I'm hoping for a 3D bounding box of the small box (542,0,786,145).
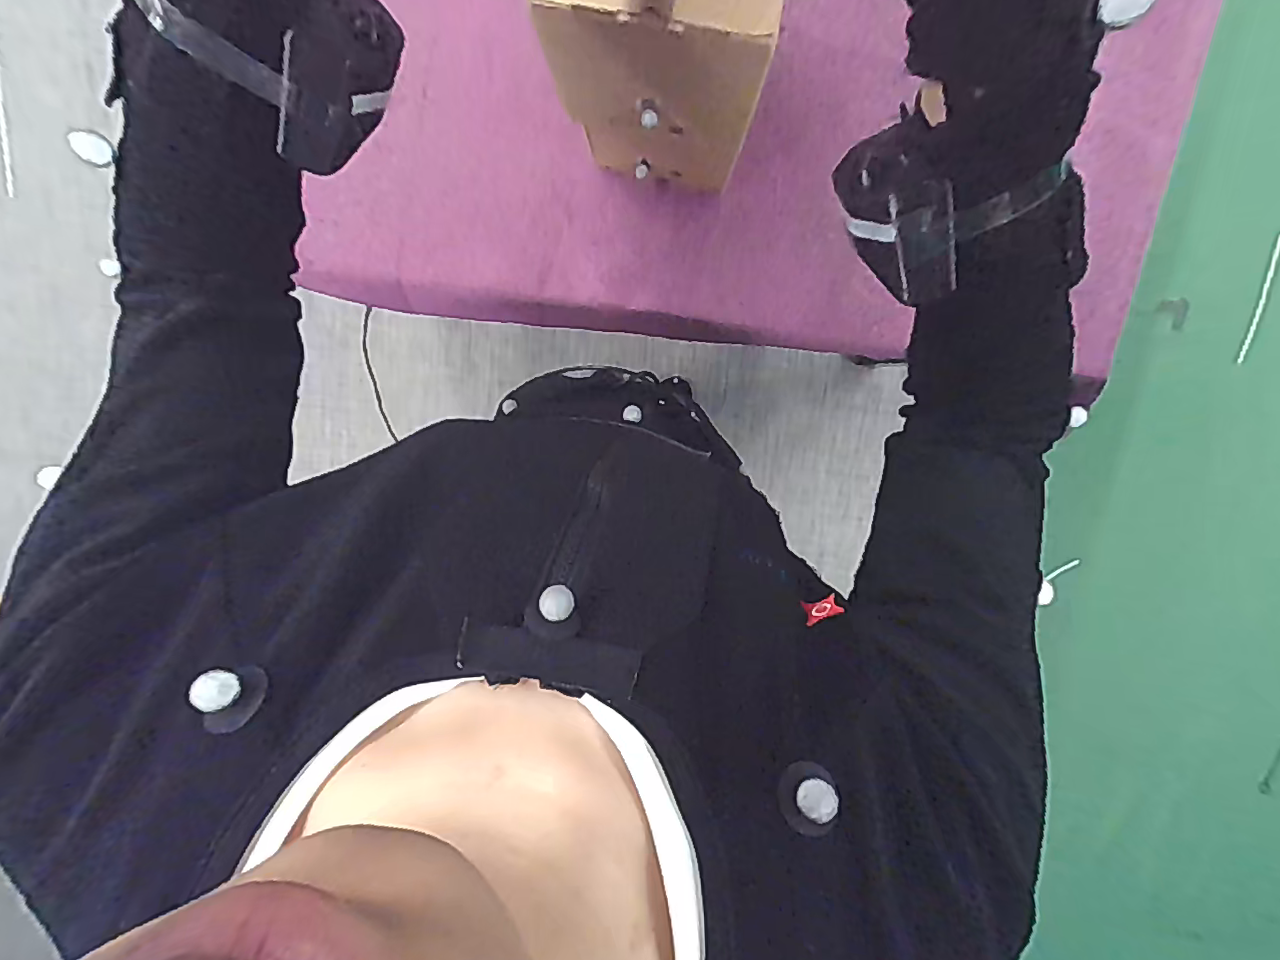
[{"bbox_3d":[0.028,-0.397,0.414,0.168,0.176,0.179,10,101,1],"label":"small box"}]

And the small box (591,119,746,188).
[{"bbox_3d":[0.039,-0.442,0.572,0.168,0.176,0.179,12,101,0],"label":"small box"}]
